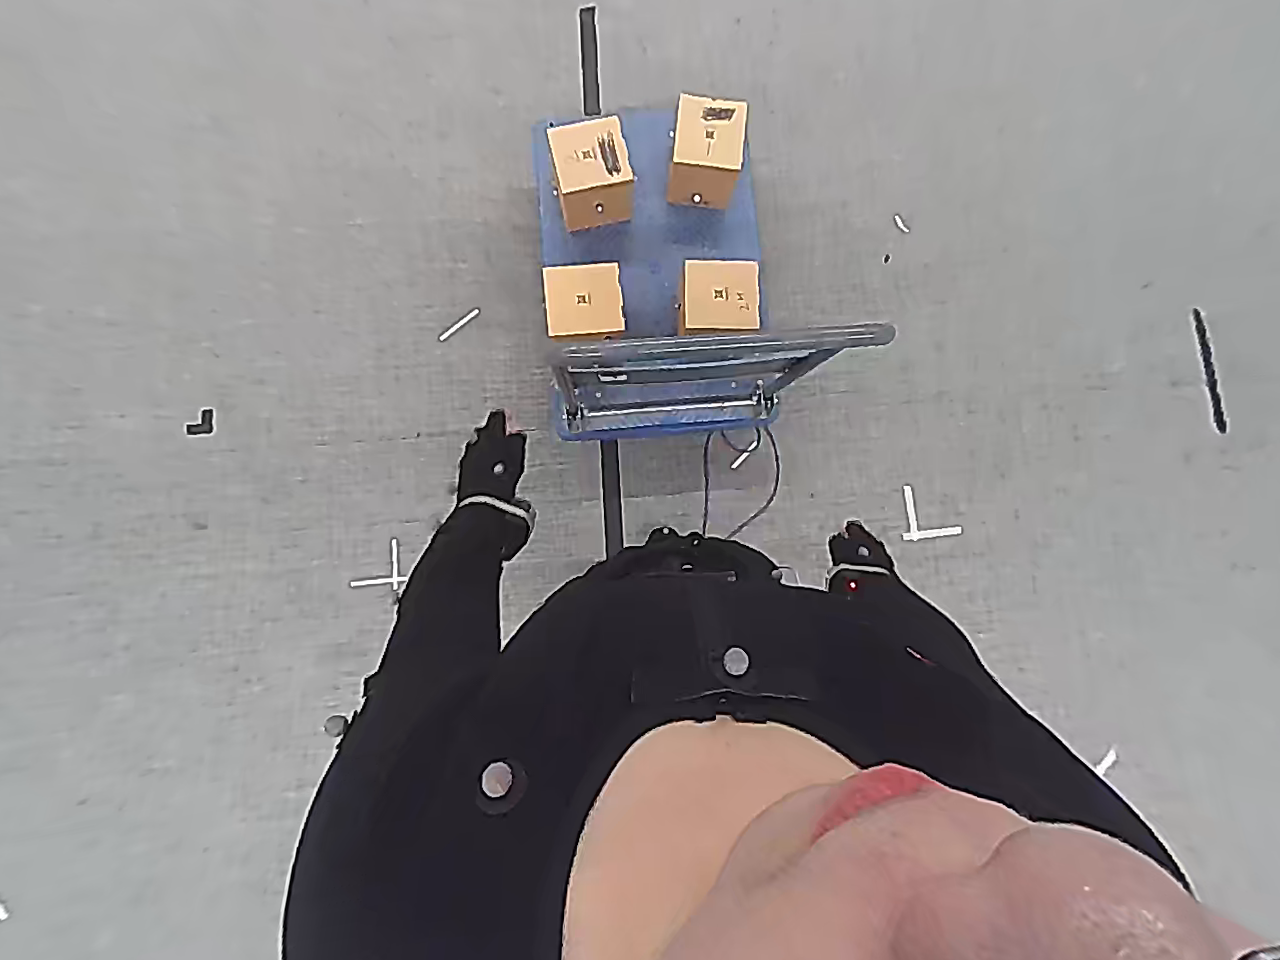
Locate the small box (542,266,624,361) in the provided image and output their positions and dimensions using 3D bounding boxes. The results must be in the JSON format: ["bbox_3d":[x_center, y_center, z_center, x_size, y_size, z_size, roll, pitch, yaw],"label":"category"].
[{"bbox_3d":[-0.134,-0.395,1.308,0.179,0.176,0.168,-6,84,-5],"label":"small box"}]

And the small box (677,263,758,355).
[{"bbox_3d":[0.183,-0.411,1.325,0.179,0.176,0.168,0,85,-3],"label":"small box"}]

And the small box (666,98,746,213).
[{"bbox_3d":[0.160,-0.811,1.363,0.168,0.176,0.179,6,85,-2],"label":"small box"}]
